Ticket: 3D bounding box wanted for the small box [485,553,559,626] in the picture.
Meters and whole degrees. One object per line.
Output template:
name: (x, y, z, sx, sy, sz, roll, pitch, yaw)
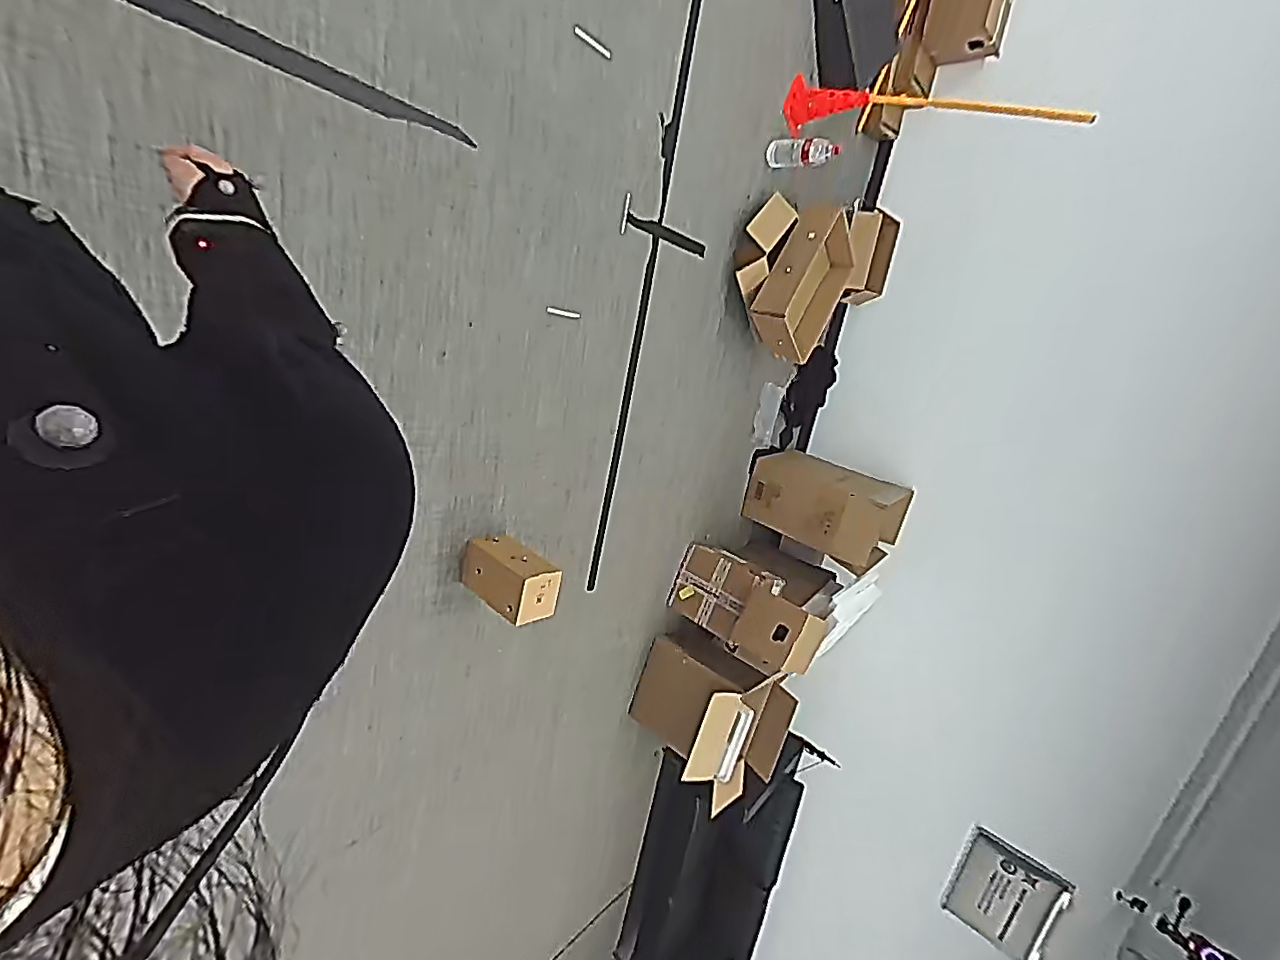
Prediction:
small box: (-0.408, 0.368, 1.848, 0.168, 0.176, 0.179, -3, 110, -52)
